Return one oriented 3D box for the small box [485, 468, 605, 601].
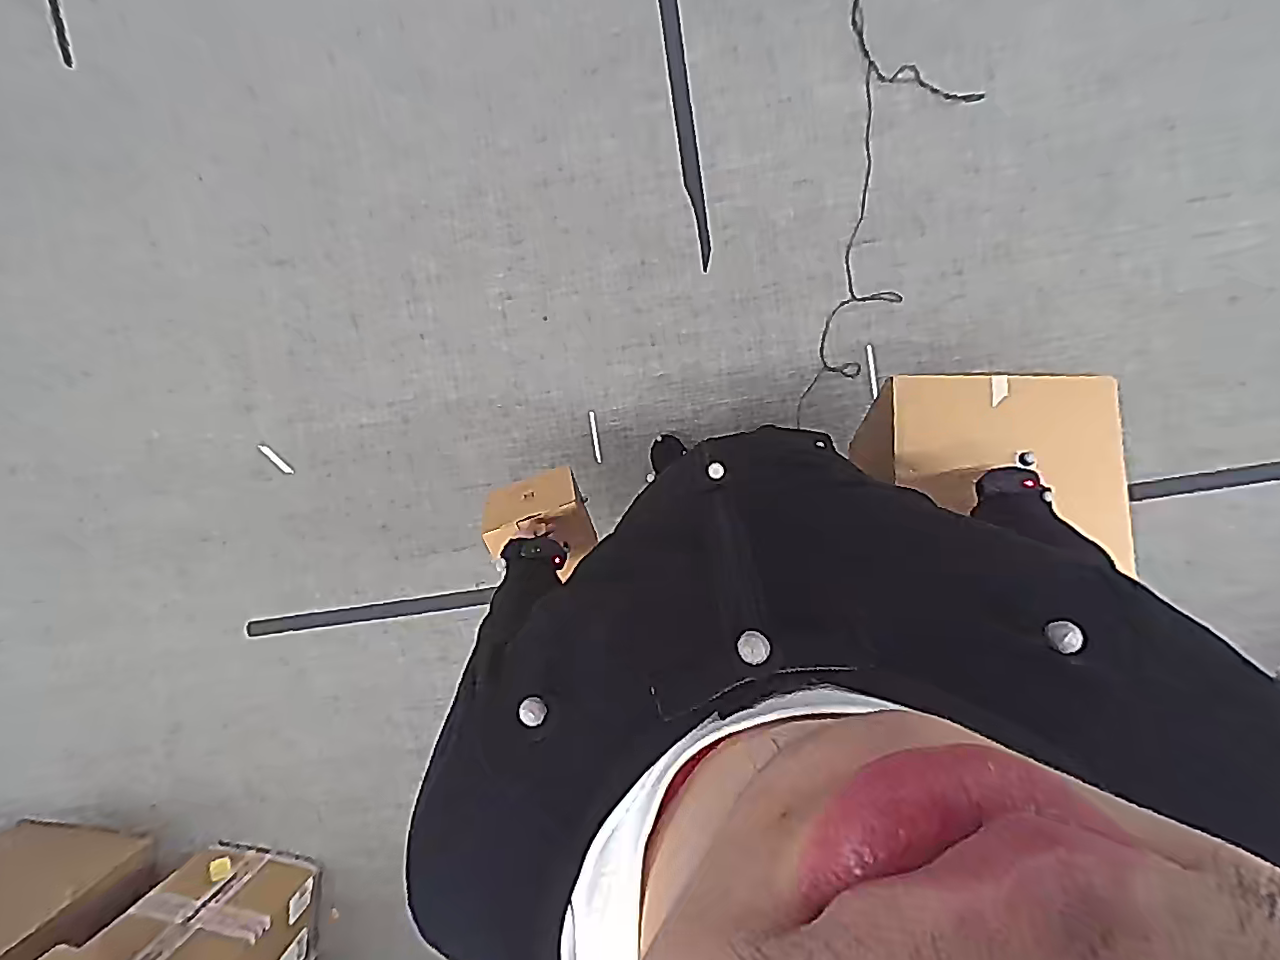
[{"bbox_3d":[-0.172,0.104,1.006,0.168,0.179,0.176,-19,113,-3],"label":"small box"}]
